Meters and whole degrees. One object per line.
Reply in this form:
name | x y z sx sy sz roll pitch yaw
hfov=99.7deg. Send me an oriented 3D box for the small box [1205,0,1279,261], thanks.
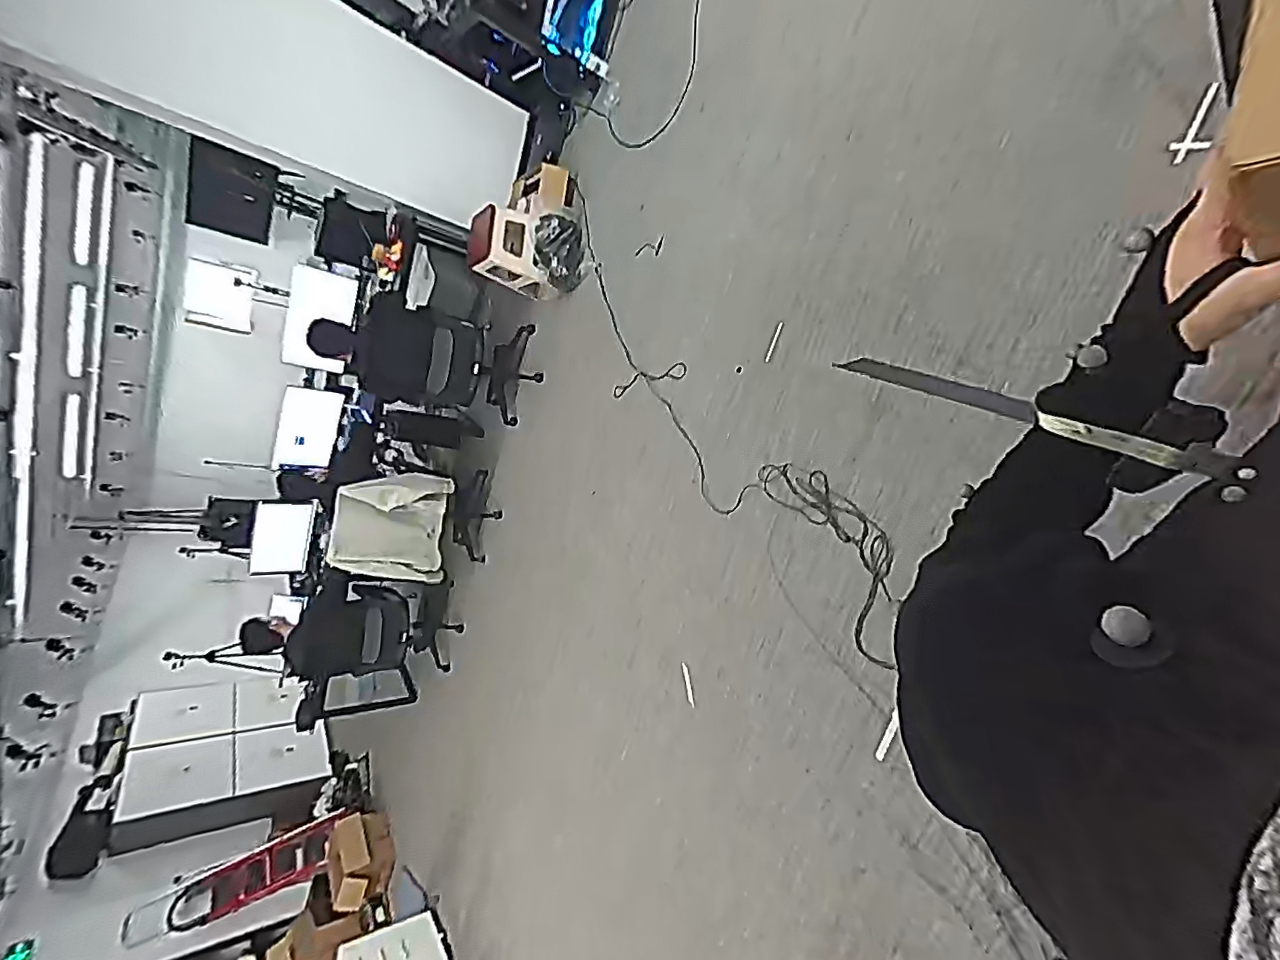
small box | 0.373 -0.199 0.213 0.168 0.176 0.179 12 93 55
